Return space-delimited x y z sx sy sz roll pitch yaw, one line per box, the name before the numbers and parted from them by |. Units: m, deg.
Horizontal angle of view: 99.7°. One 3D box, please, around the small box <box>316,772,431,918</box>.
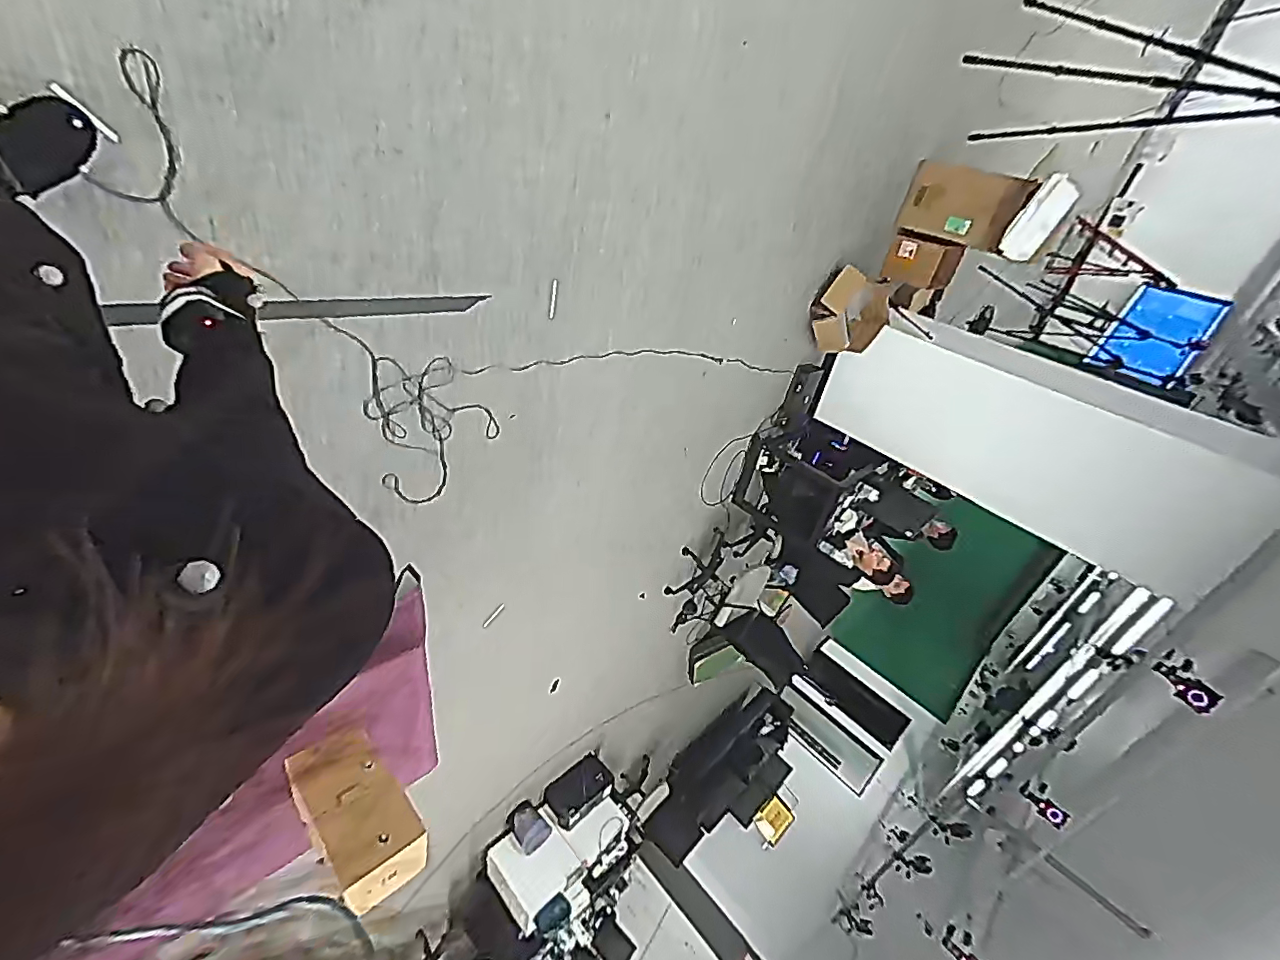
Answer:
small box | -0.589 0.797 1.199 0.179 0.176 0.168 -18 134 -43
